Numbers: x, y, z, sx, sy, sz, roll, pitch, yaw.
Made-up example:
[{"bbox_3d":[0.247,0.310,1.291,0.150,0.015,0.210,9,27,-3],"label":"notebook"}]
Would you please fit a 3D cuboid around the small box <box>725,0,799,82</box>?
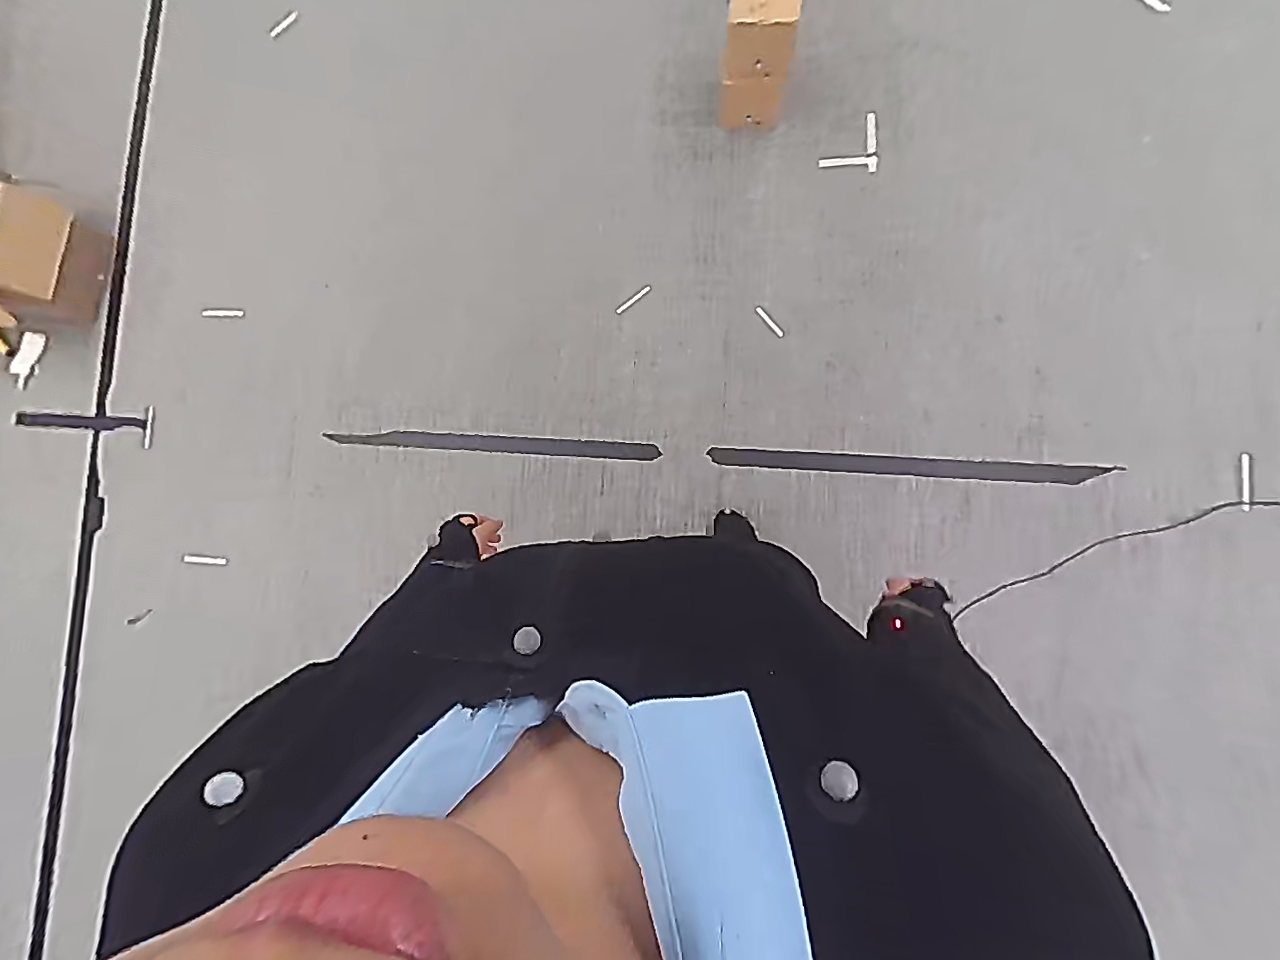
[{"bbox_3d":[0.303,-1.137,1.340,0.168,0.176,0.179,7,86,9],"label":"small box"}]
